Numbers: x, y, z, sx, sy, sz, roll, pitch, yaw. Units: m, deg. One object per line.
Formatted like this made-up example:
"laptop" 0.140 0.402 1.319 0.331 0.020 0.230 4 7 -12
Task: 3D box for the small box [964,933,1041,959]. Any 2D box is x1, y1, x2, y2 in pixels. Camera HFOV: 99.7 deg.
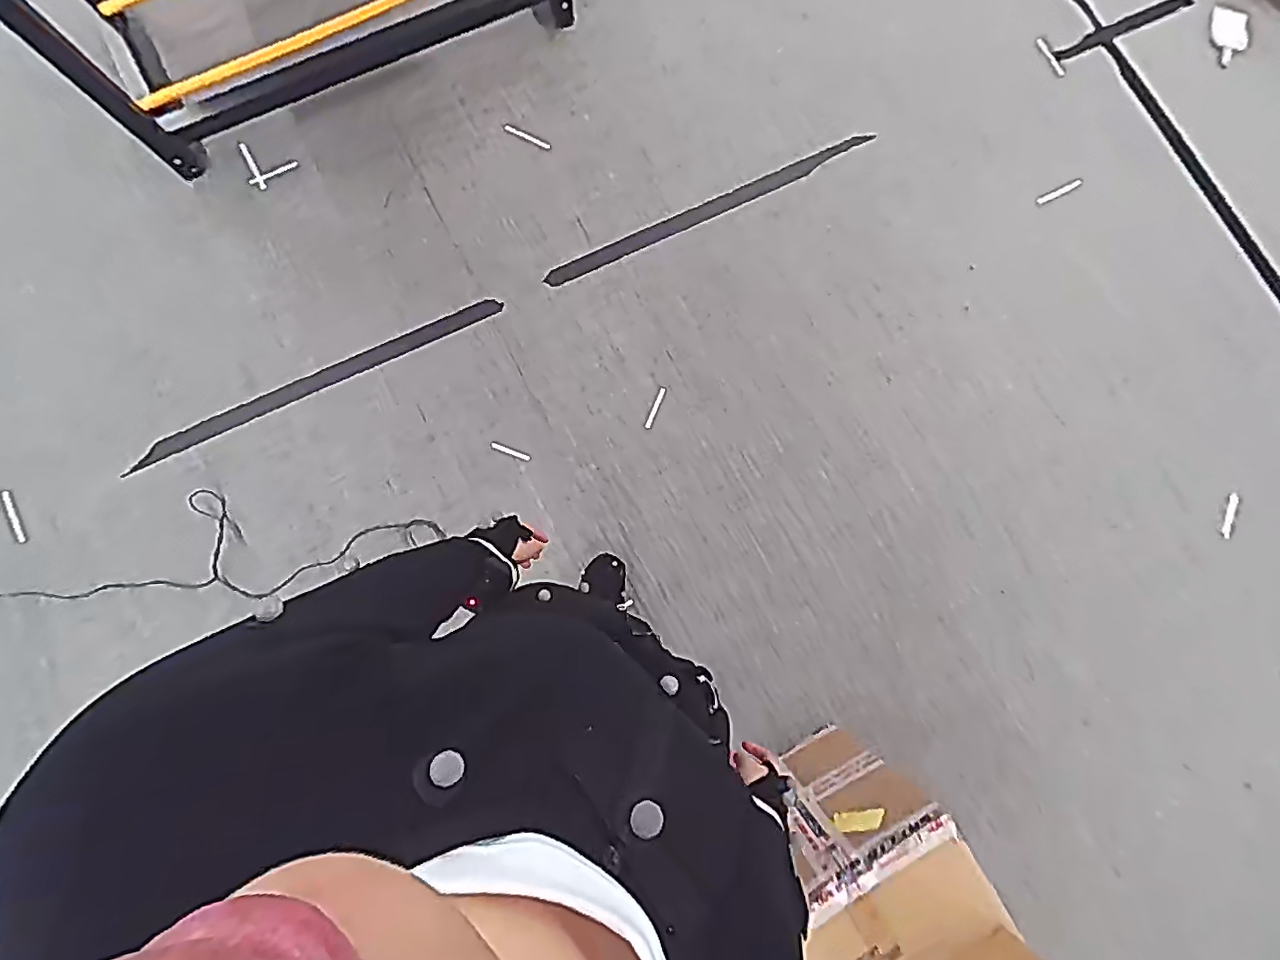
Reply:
"small box" 0.540 0.797 0.746 0.179 0.176 0.168 -27 83 -8
